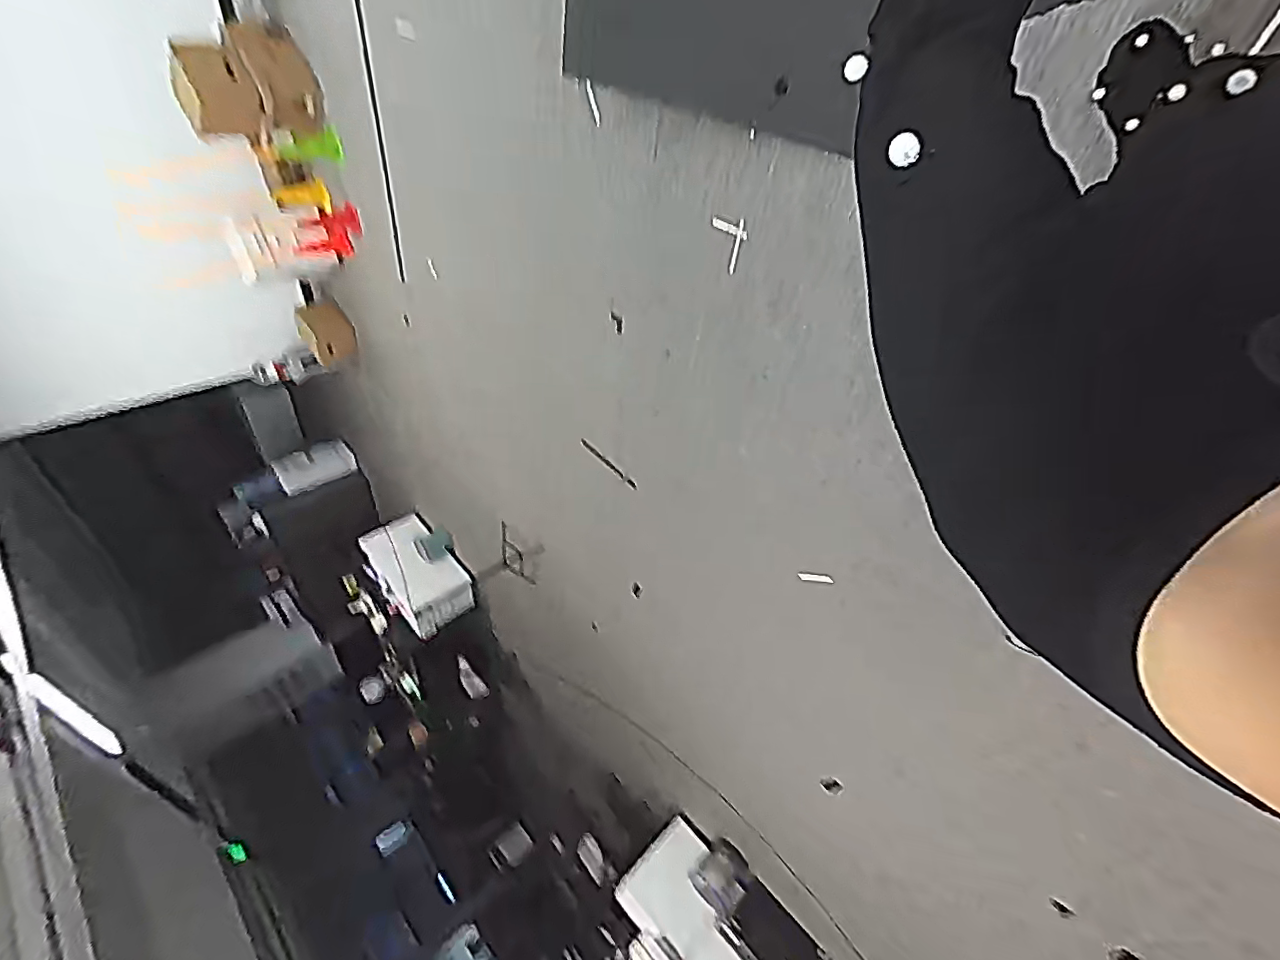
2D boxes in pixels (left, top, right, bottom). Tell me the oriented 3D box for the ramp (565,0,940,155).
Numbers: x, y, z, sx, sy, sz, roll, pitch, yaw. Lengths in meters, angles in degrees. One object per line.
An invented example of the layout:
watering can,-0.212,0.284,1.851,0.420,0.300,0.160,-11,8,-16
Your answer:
ramp,0.214,-1.201,1.325,0.991,0.206,0.509,37,137,28
